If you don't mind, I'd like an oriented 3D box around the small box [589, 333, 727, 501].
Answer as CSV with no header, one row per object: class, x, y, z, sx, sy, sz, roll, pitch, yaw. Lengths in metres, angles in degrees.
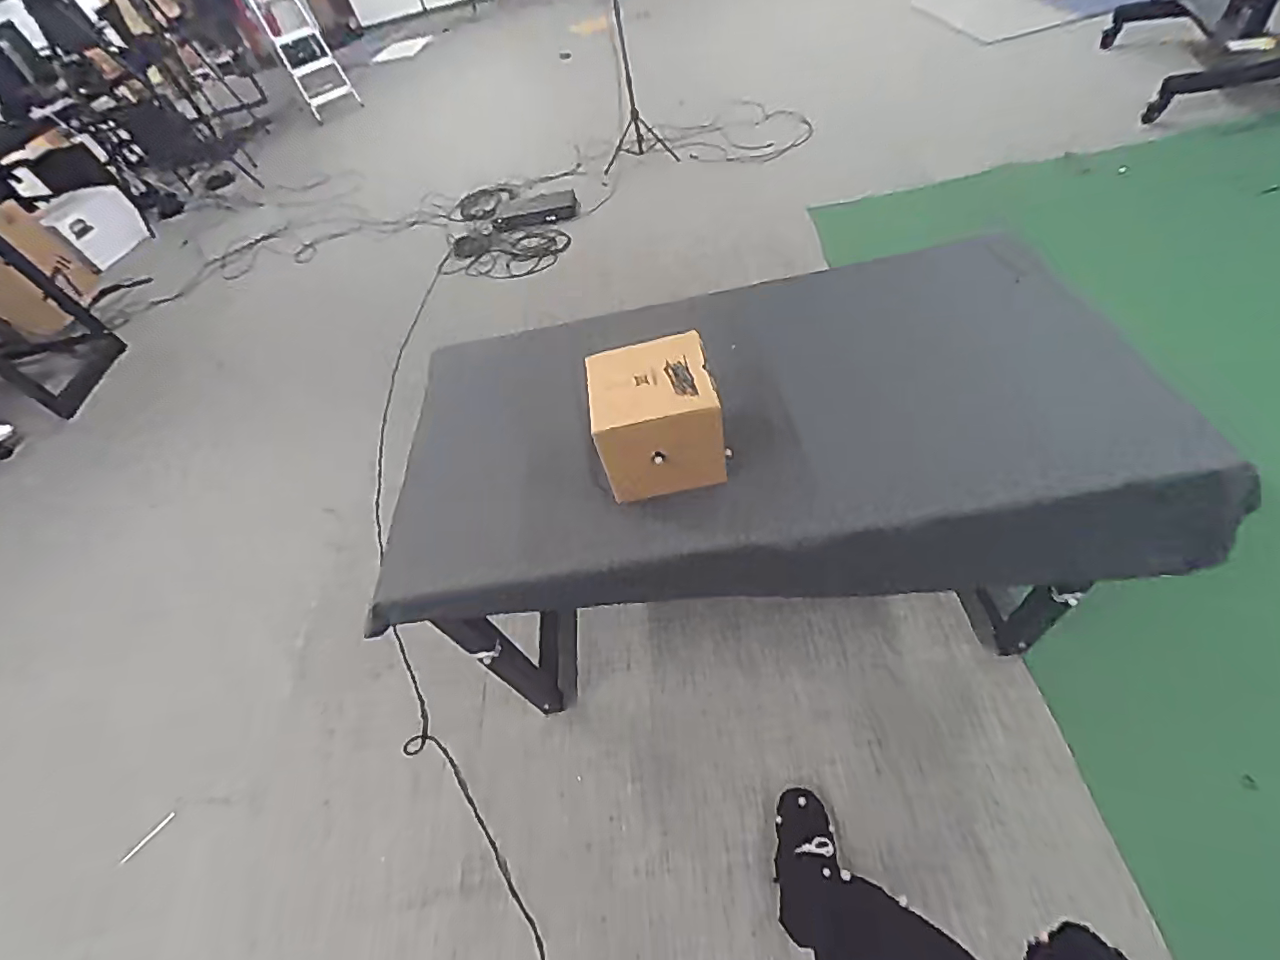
small box,0.030,-0.091,0.826,0.179,0.176,0.168,-13,52,2
